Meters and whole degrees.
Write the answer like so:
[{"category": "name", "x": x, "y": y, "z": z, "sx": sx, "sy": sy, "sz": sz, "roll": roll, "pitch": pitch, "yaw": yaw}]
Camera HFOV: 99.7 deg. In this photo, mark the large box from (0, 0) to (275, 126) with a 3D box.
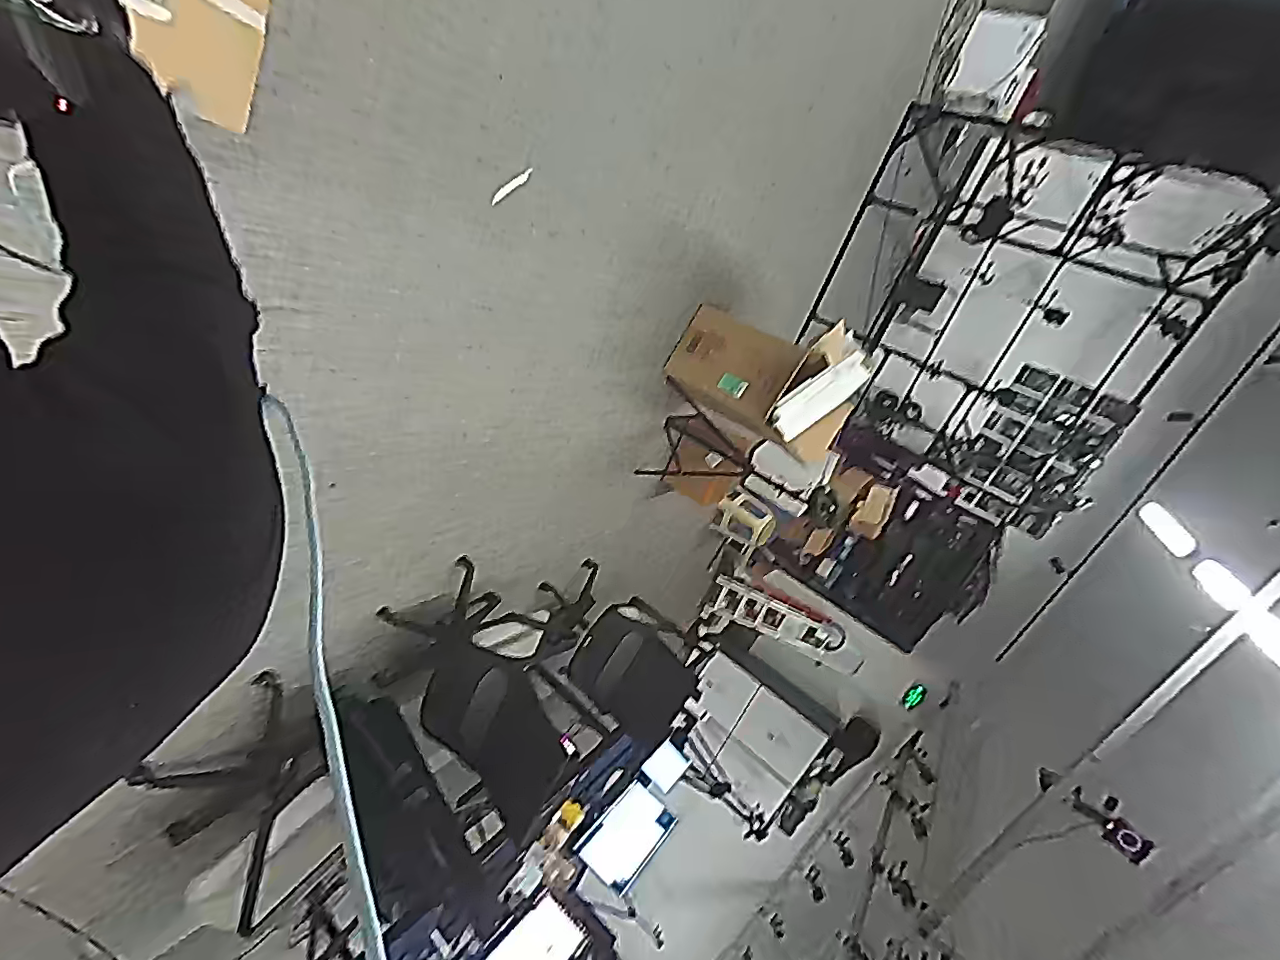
[{"category": "large box", "x": -0.747, "y": -0.729, "z": 0.668, "sx": 0.408, "sy": 0.320, "sz": 0.320, "roll": -6, "pitch": 126, "yaw": -61}]
